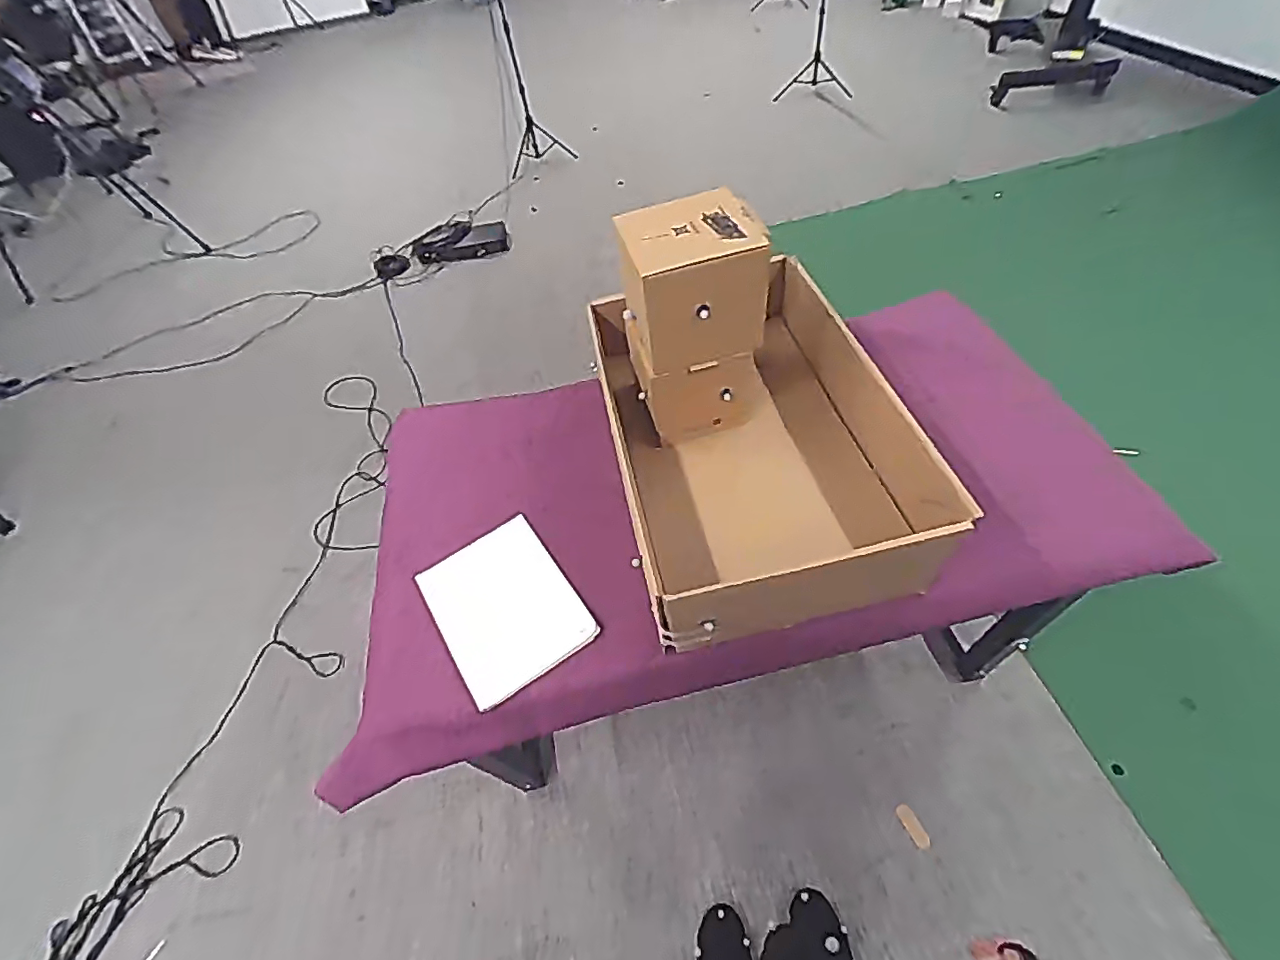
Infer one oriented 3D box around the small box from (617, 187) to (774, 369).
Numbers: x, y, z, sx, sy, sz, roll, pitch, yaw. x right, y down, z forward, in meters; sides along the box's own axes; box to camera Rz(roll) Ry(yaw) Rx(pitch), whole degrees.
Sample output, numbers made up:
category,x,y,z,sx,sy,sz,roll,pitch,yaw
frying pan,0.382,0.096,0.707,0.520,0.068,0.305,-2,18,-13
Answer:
category,x,y,z,sx,sy,sz,roll,pitch,yaw
small box,0.077,-0.291,0.791,0.179,0.176,0.168,-16,53,-3
